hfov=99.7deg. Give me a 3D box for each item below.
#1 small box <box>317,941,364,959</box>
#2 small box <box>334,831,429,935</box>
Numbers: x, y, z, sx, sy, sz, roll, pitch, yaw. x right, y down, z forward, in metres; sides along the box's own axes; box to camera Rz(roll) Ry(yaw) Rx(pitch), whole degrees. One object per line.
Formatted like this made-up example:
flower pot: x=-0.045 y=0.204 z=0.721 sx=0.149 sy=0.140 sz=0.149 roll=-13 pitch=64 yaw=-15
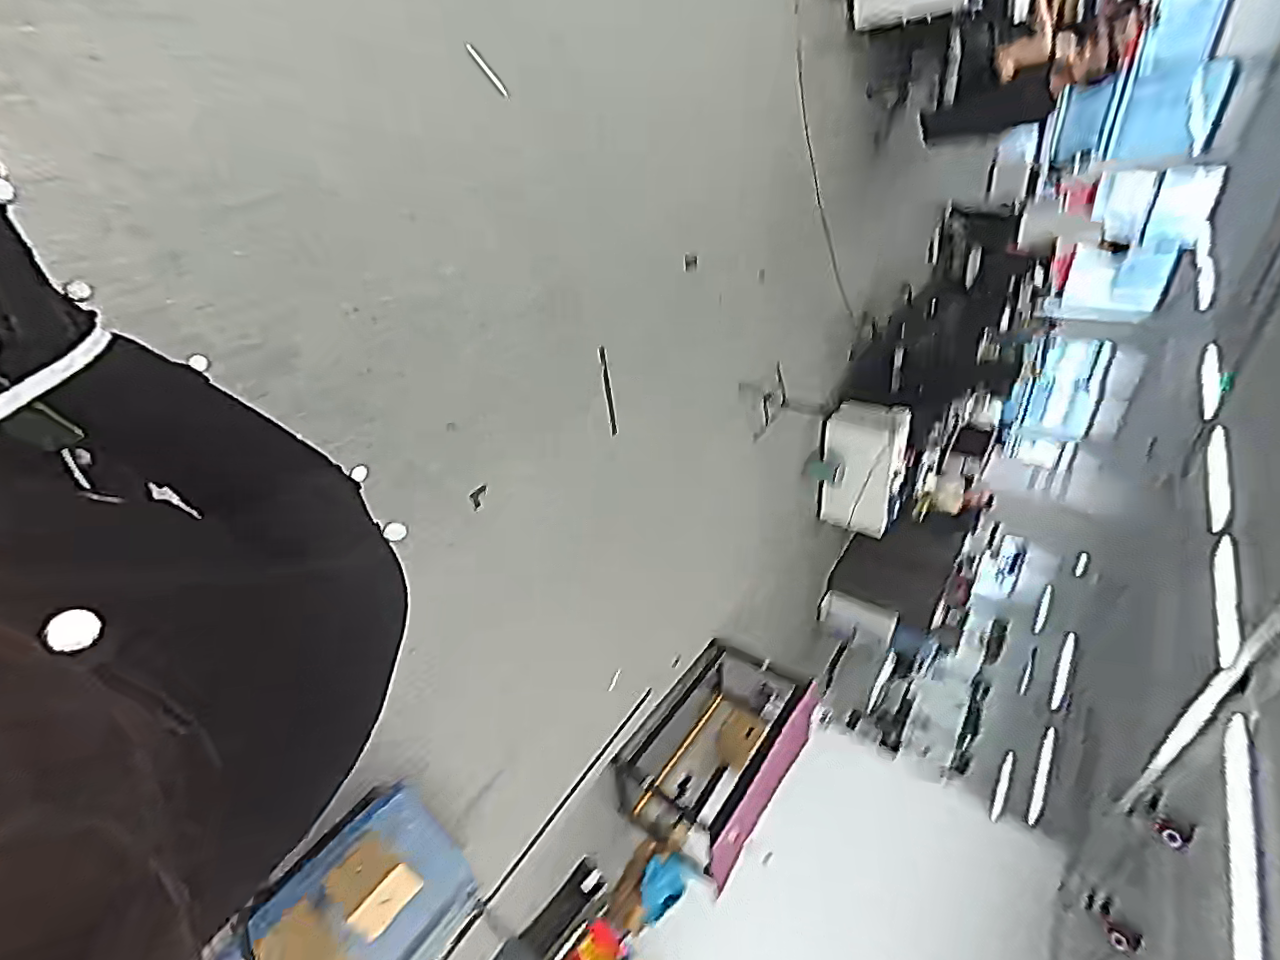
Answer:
small box: x=-0.785 y=1.357 z=1.399 sx=0.168 sy=0.176 sz=0.179 roll=-40 pitch=134 yaw=-38
small box: x=-0.779 y=1.203 z=1.627 sx=0.168 sy=0.176 sz=0.179 roll=-42 pitch=136 yaw=-35
